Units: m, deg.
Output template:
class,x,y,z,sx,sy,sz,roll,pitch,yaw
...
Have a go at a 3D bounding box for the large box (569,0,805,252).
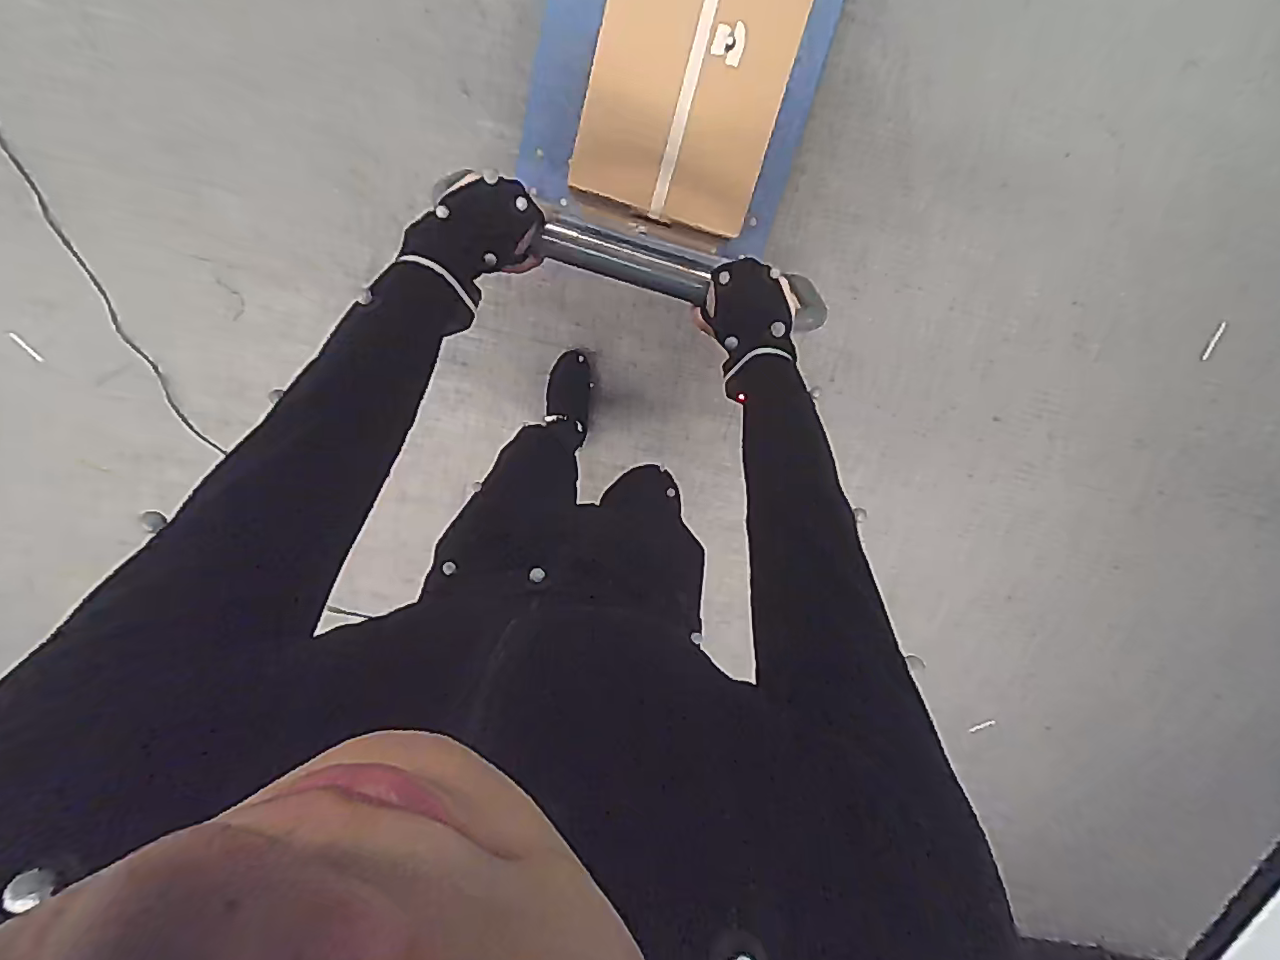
class,x,y,z,sx,sy,sz,roll,pitch,yaw
large box,0.068,-0.695,1.030,0.320,0.320,0.408,14,106,-7
